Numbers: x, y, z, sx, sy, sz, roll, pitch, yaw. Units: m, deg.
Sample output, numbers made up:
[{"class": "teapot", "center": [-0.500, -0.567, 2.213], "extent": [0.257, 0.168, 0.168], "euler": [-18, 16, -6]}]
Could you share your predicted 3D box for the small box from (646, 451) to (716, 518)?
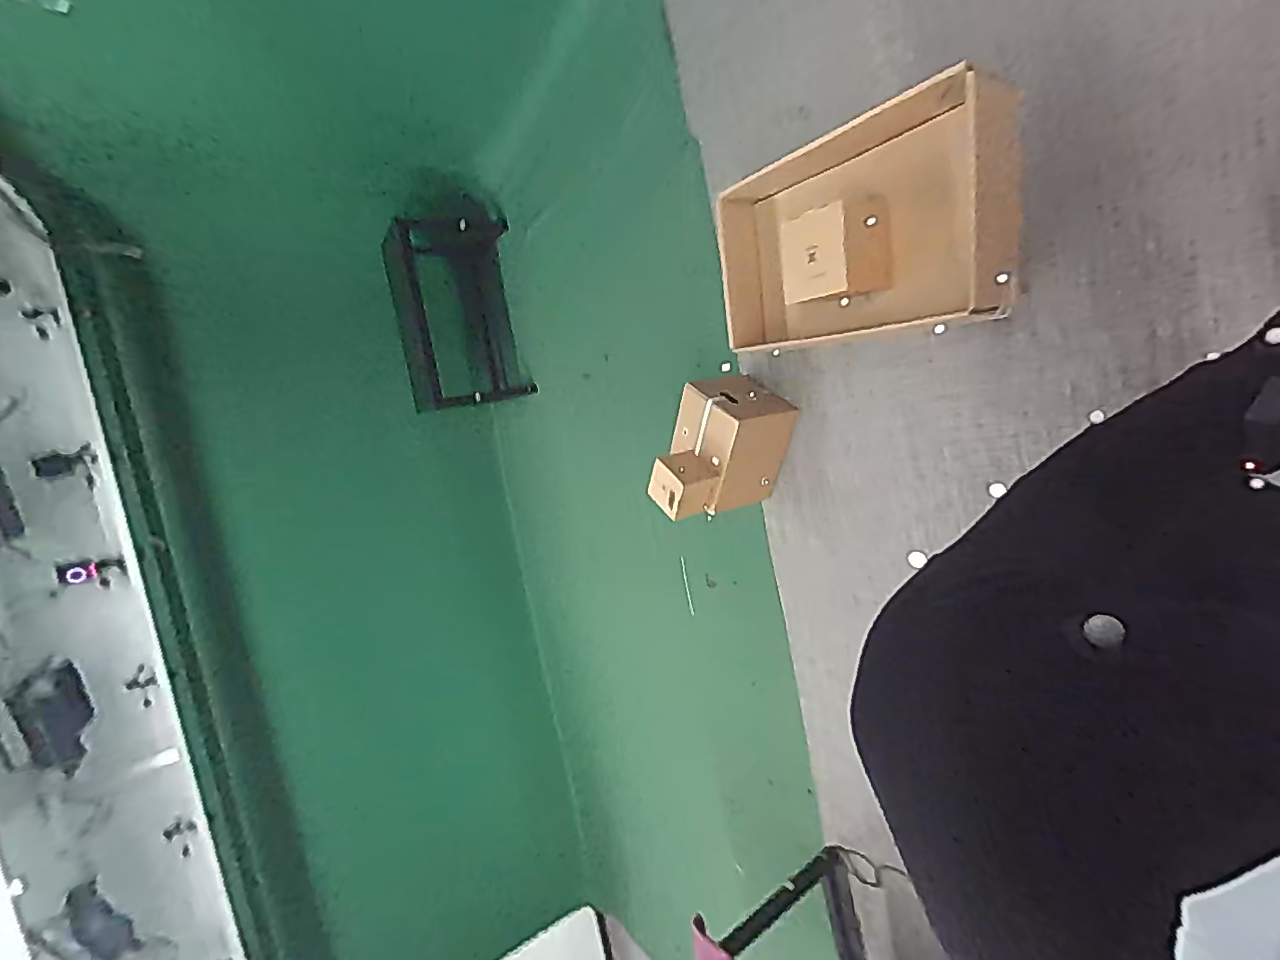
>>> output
[{"class": "small box", "center": [0.151, 0.009, 1.981], "extent": [0.179, 0.176, 0.168], "euler": [48, 137, 37]}]
